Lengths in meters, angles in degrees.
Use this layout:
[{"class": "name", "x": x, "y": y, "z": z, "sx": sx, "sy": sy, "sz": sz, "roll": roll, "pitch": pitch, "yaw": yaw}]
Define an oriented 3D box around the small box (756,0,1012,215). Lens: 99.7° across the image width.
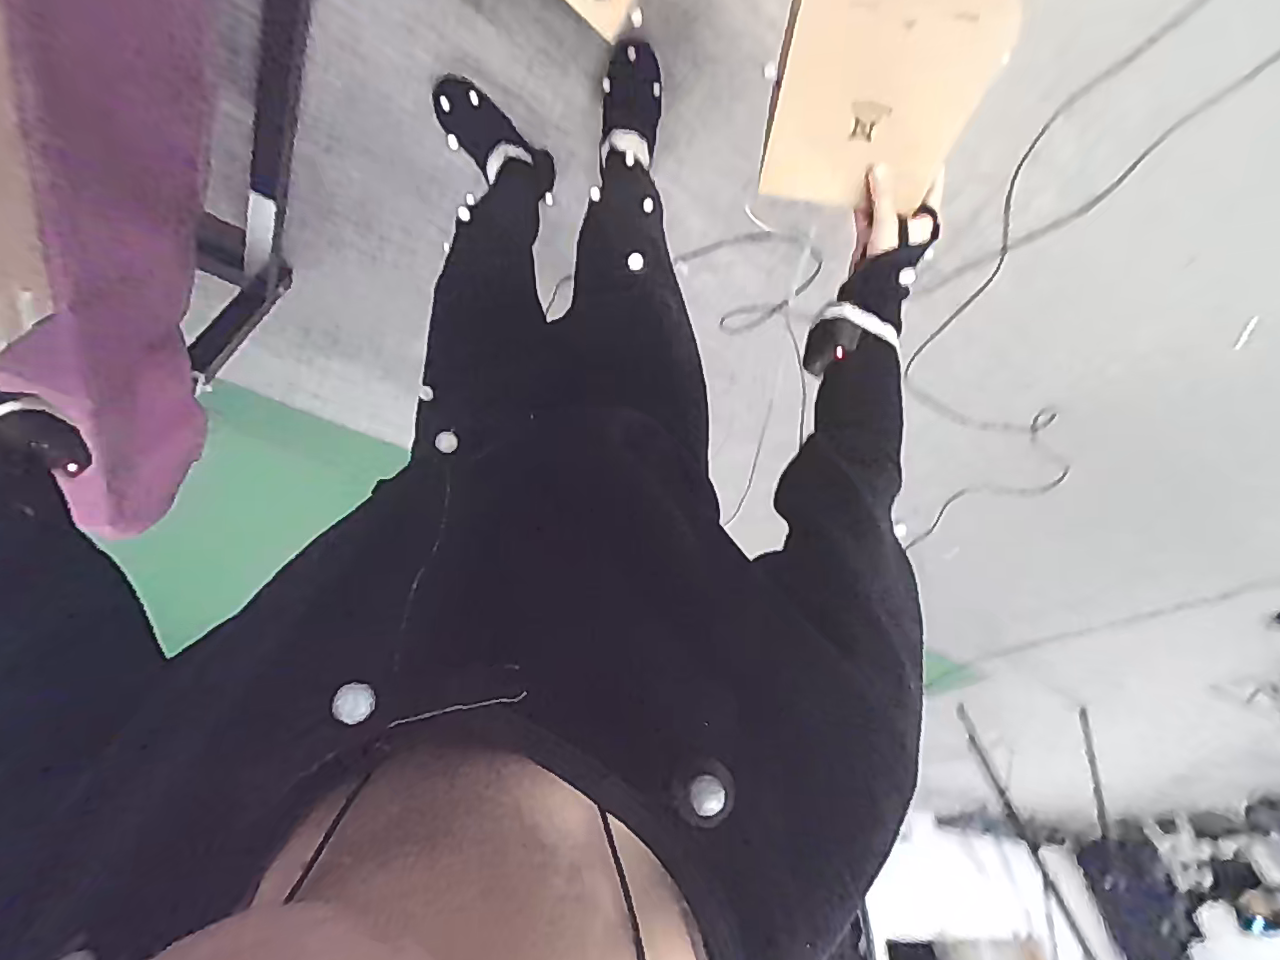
[{"class": "small box", "x": 0.215, "y": -0.390, "z": 0.508, "sx": 0.168, "sy": 0.176, "sz": 0.179, "roll": 10, "pitch": 161, "yaw": 5}]
